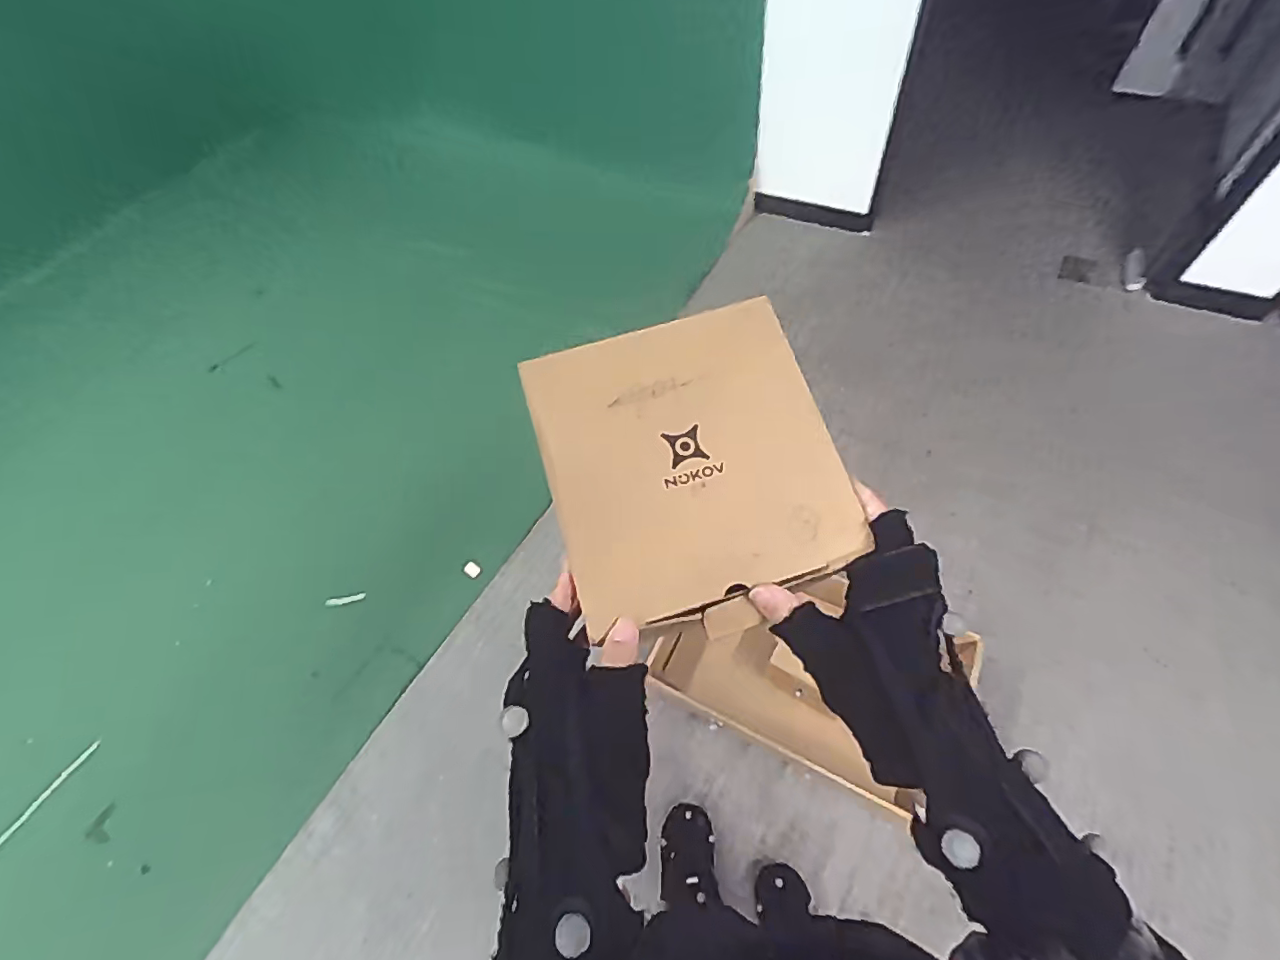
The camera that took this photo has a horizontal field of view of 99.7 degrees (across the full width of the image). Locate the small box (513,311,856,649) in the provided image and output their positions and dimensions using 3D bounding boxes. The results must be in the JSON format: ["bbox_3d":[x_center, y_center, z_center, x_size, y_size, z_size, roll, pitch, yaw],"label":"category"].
[{"bbox_3d":[0.023,0.014,0.397,0.168,0.176,0.179,-17,71,-4],"label":"small box"}]

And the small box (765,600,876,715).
[{"bbox_3d":[0.399,0.406,1.220,0.179,0.176,0.168,27,65,25],"label":"small box"}]
